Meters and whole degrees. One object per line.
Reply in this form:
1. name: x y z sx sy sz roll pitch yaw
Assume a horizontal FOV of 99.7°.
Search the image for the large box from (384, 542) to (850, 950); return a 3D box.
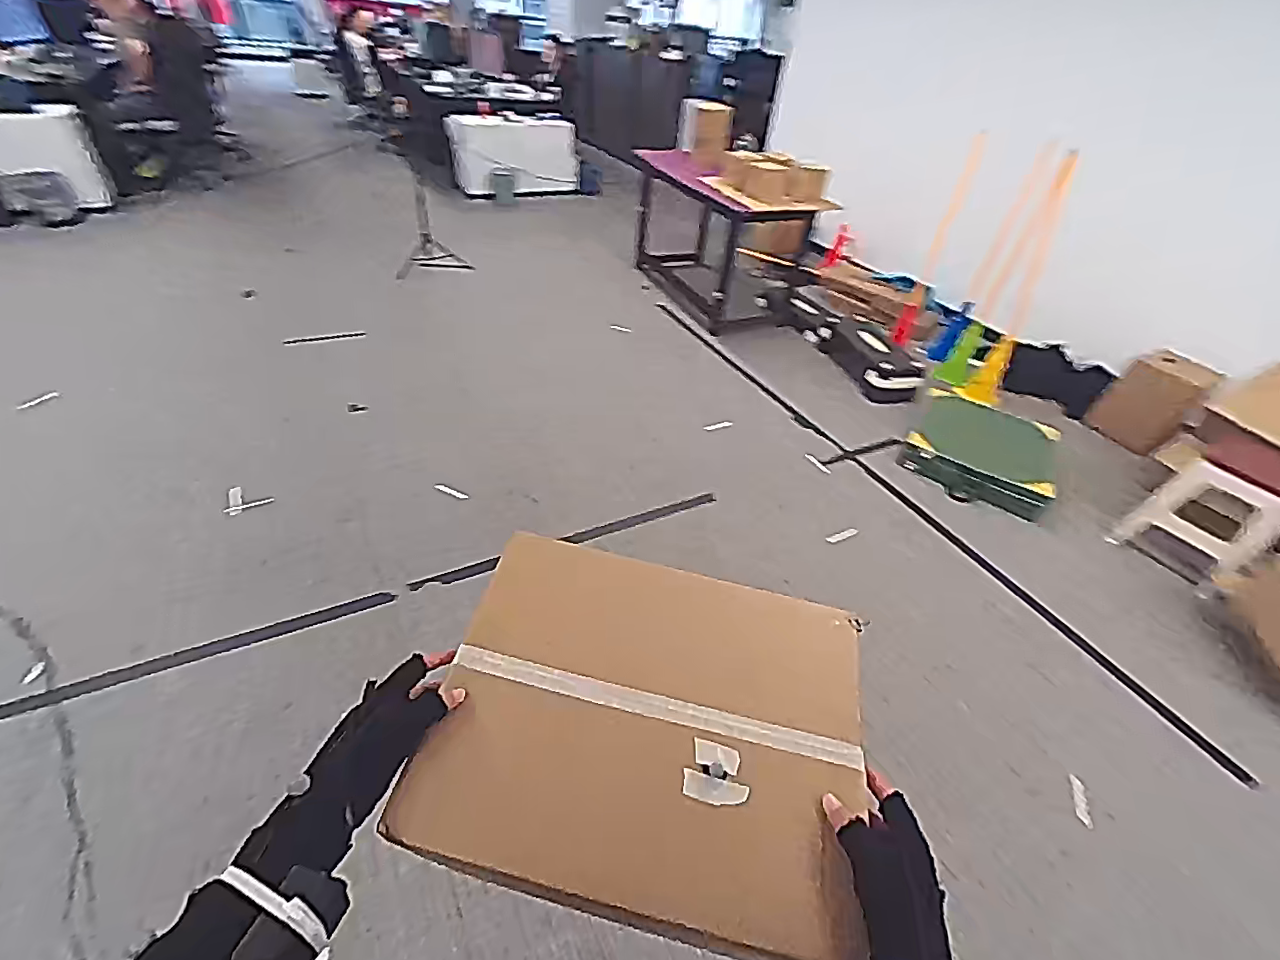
1. large box: -0.012 0.320 0.652 0.408 0.320 0.320 13 50 3
